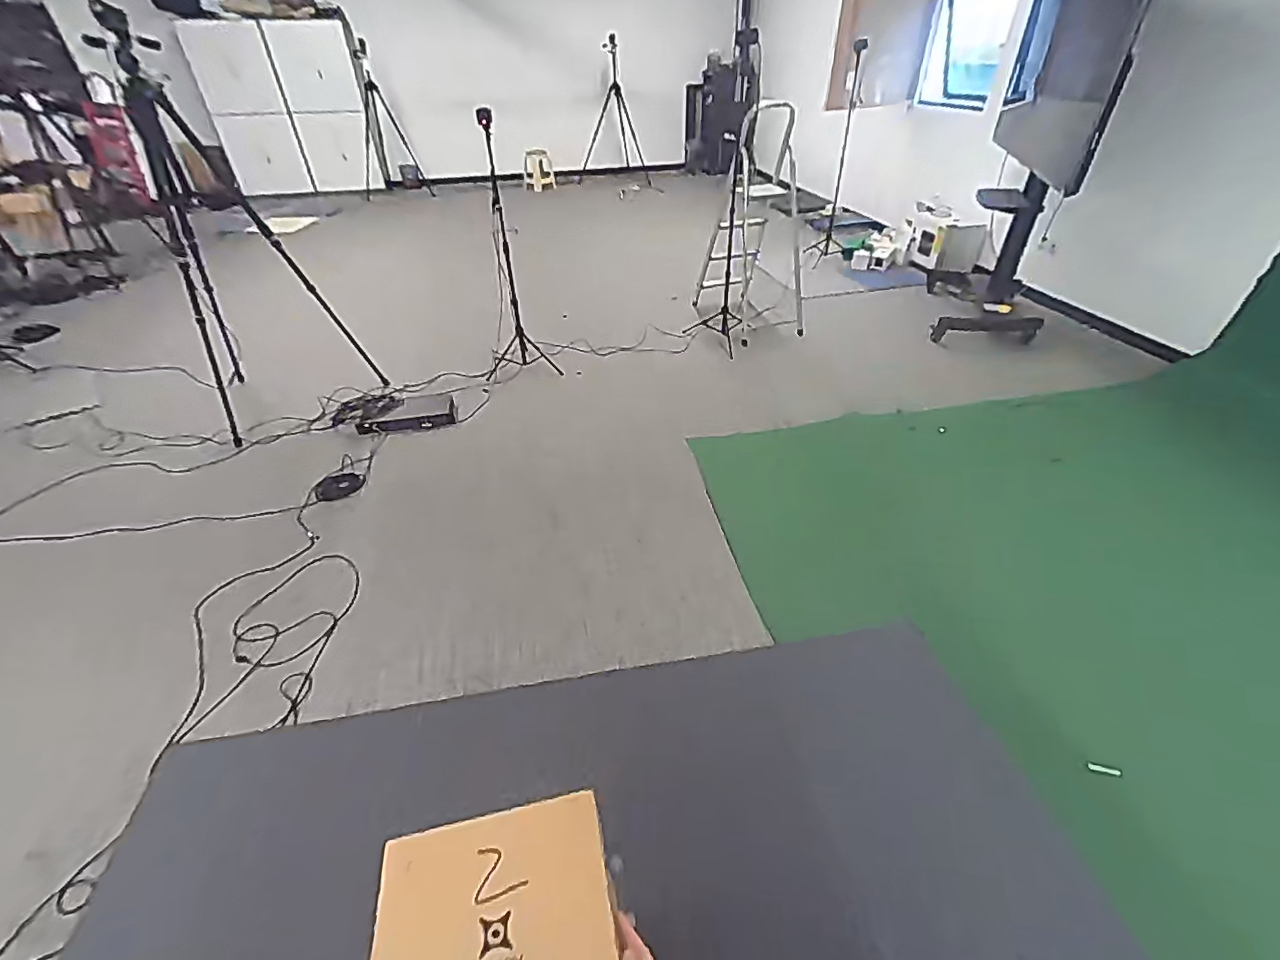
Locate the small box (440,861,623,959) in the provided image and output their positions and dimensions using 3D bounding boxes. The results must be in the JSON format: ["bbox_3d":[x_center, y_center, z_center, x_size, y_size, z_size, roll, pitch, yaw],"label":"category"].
[{"bbox_3d":[-0.094,0.516,0.524,0.168,0.176,0.179,-9,39,-9],"label":"small box"}]
